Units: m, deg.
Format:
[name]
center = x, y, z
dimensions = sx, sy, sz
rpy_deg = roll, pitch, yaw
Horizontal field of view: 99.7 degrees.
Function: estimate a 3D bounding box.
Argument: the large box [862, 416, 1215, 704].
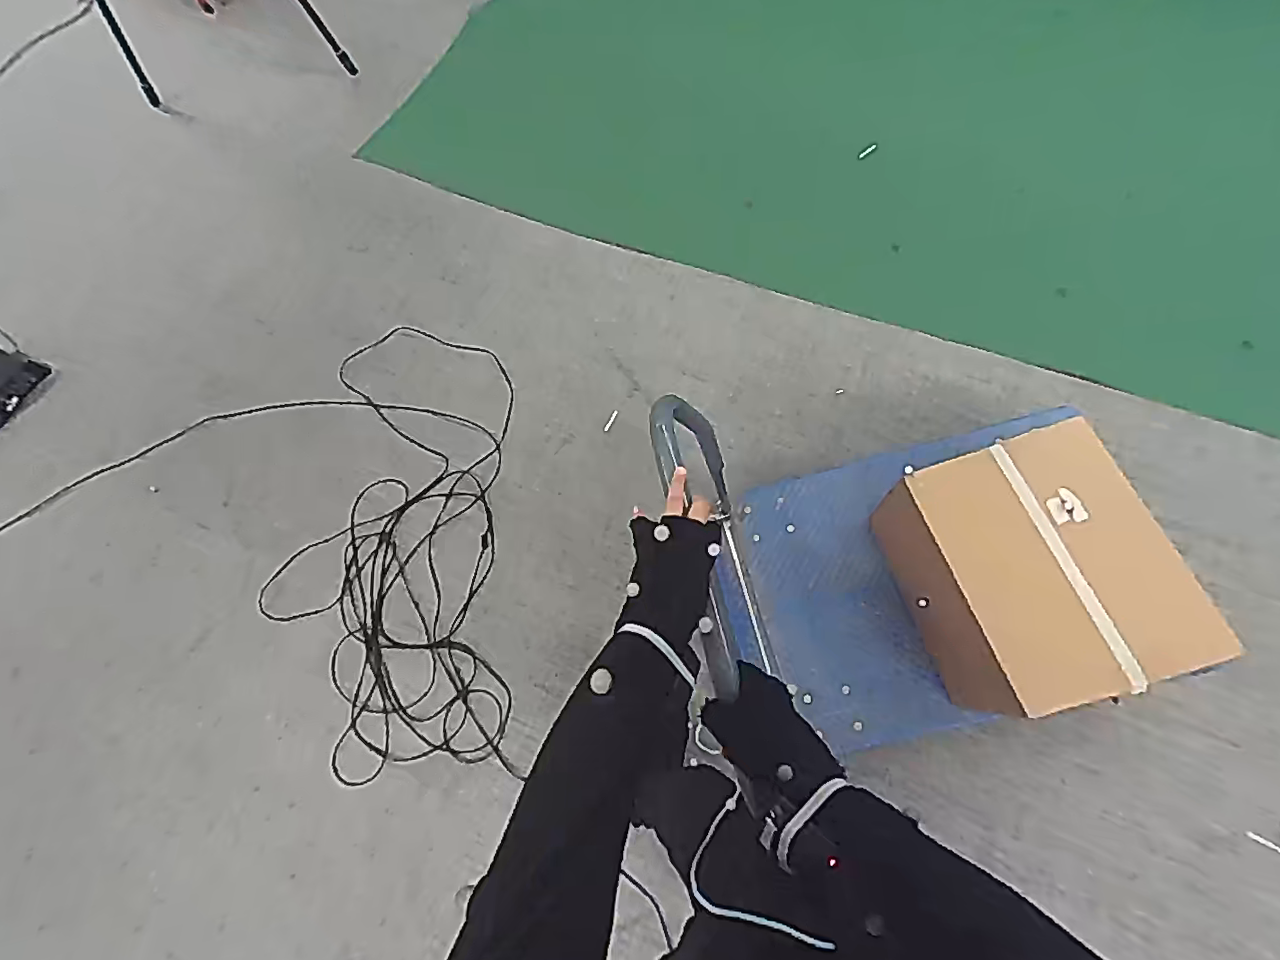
[large box]
center = 0.670, 0.161, 1.009
dimensions = 0.320, 0.320, 0.408
rpy_deg = -20, 68, 4
